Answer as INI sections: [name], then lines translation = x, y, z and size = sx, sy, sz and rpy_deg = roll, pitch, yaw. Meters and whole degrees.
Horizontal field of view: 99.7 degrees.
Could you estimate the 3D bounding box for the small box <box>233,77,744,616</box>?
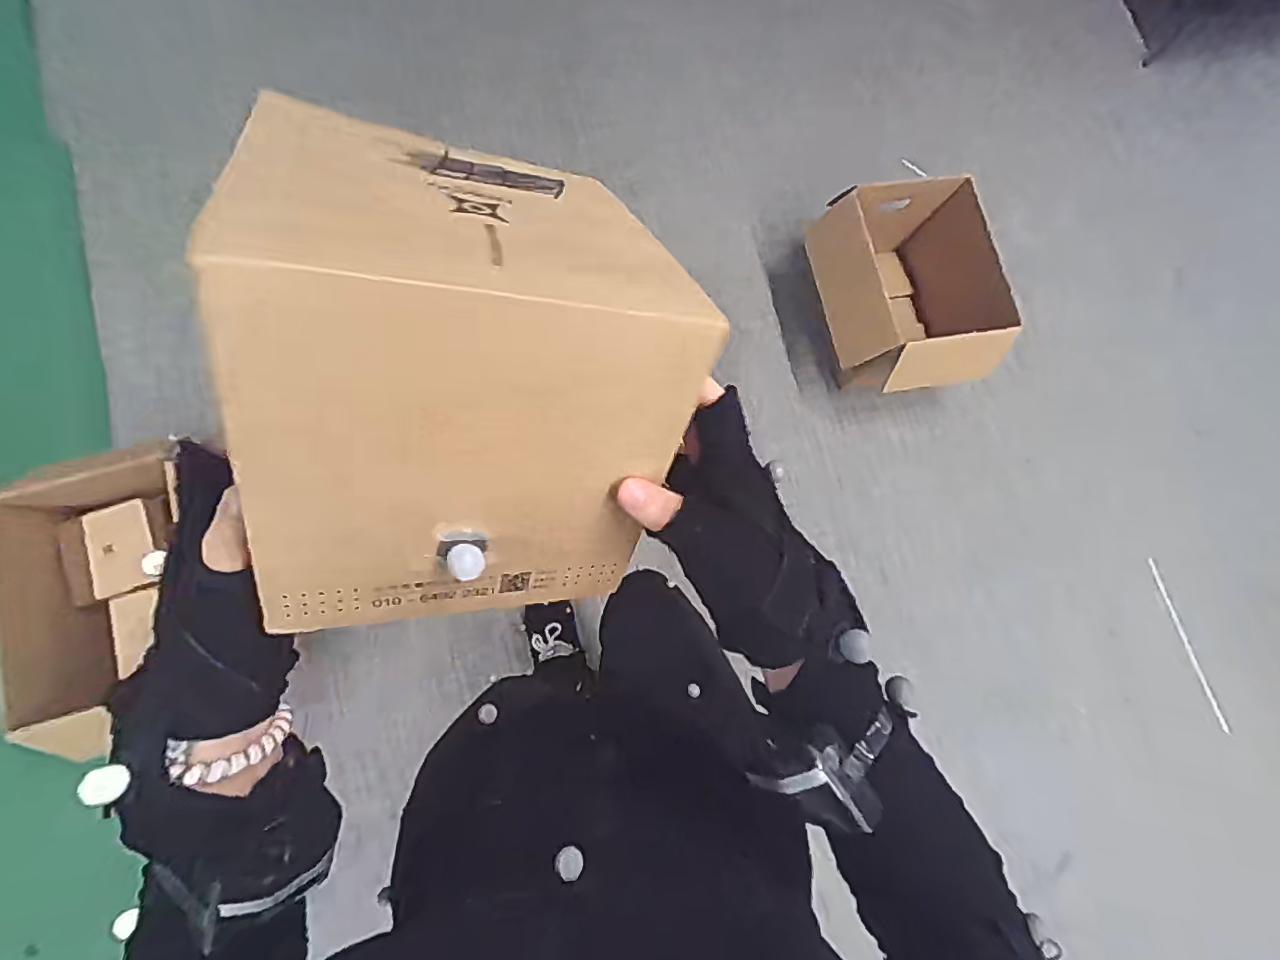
[small box]
translation = -0.086, -0.058, 0.272
size = 0.168, 0.176, 0.179
rpy_deg = -1, 44, -30
